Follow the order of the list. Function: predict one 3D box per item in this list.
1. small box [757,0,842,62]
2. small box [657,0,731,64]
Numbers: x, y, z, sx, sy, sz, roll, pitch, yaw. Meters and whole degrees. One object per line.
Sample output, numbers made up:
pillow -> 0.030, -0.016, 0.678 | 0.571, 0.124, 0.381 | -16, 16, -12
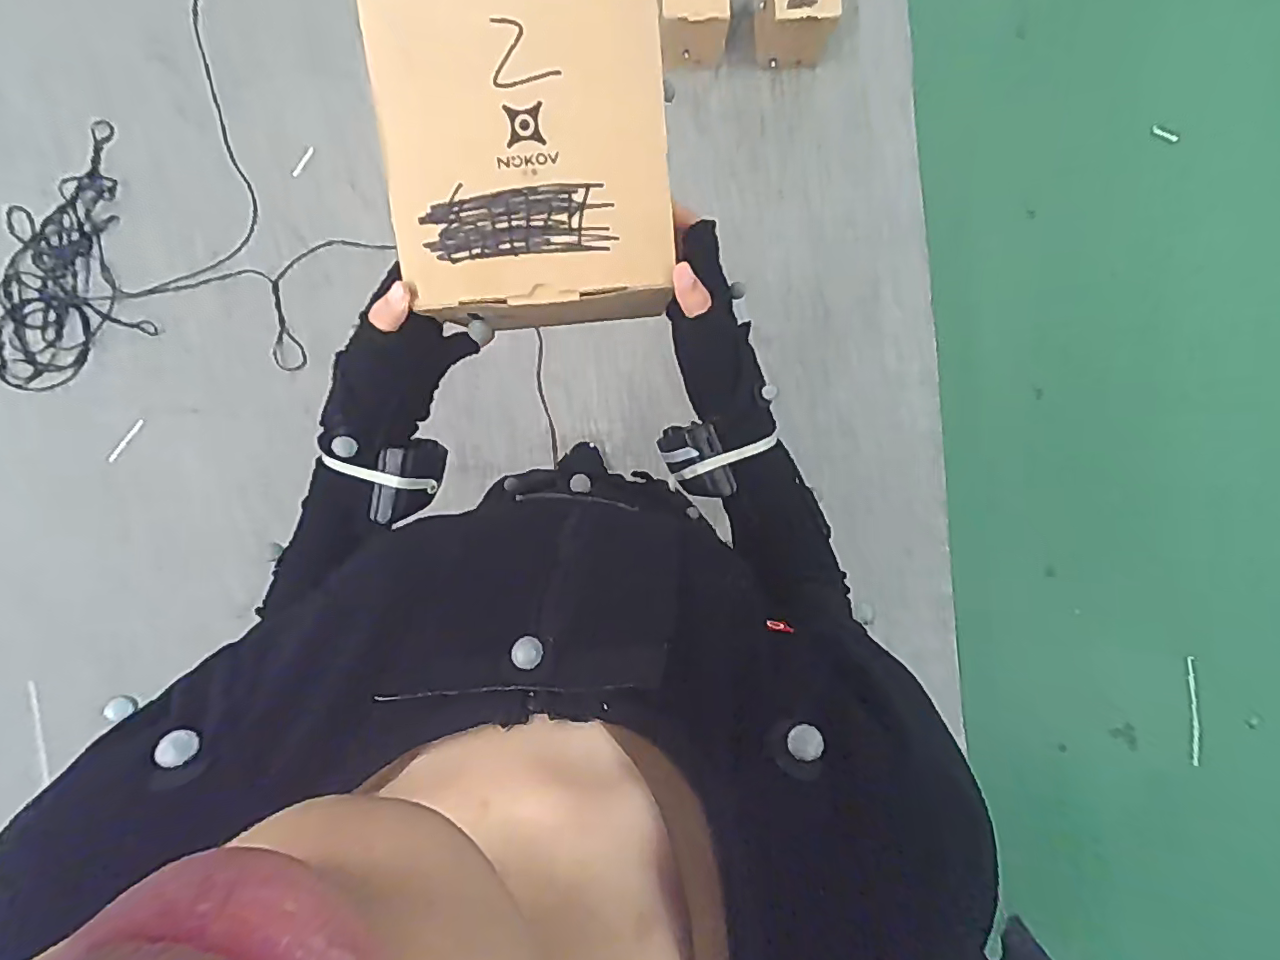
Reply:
small box -> 0.401, -1.210, 1.380 | 0.168, 0.176, 0.179 | -3, 91, -2
small box -> 0.132, -1.206, 1.373 | 0.168, 0.176, 0.179 | -3, 92, -2
